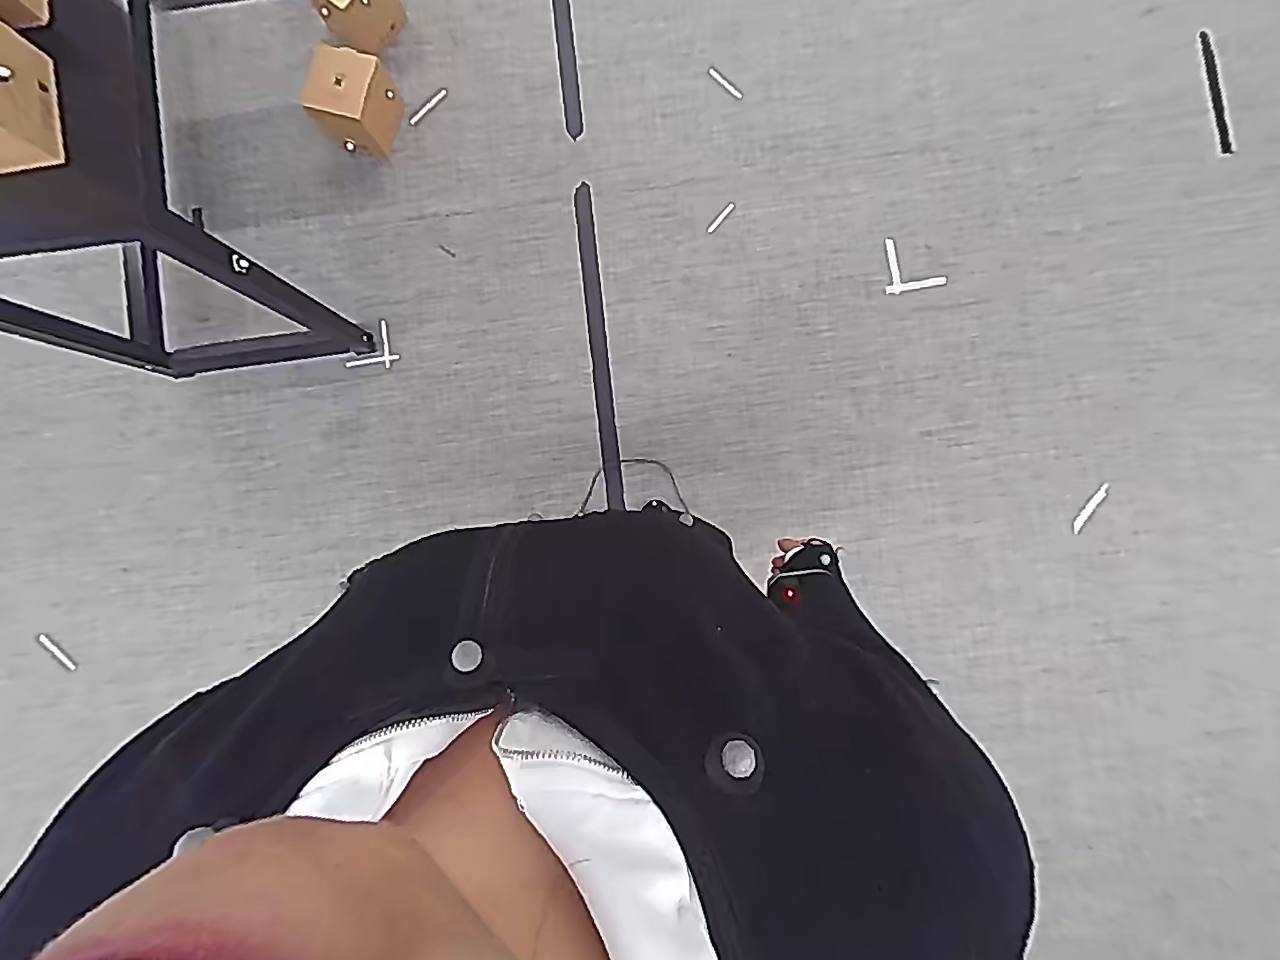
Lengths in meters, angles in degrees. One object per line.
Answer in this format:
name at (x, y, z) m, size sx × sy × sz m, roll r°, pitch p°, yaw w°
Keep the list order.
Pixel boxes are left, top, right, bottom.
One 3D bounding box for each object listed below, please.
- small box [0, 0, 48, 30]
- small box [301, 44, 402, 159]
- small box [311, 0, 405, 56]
small box at (-0.988, -0.760, 0.740) m, size 0.179 × 0.176 × 0.168 m, roll -7°, pitch 88°, yaw 0°
small box at (-0.779, -1.029, 1.480) m, size 0.168 × 0.176 × 0.179 m, roll 14°, pitch 89°, yaw 2°
small box at (-0.794, -1.332, 1.488) m, size 0.179 × 0.176 × 0.168 m, roll 36°, pitch 89°, yaw 1°
